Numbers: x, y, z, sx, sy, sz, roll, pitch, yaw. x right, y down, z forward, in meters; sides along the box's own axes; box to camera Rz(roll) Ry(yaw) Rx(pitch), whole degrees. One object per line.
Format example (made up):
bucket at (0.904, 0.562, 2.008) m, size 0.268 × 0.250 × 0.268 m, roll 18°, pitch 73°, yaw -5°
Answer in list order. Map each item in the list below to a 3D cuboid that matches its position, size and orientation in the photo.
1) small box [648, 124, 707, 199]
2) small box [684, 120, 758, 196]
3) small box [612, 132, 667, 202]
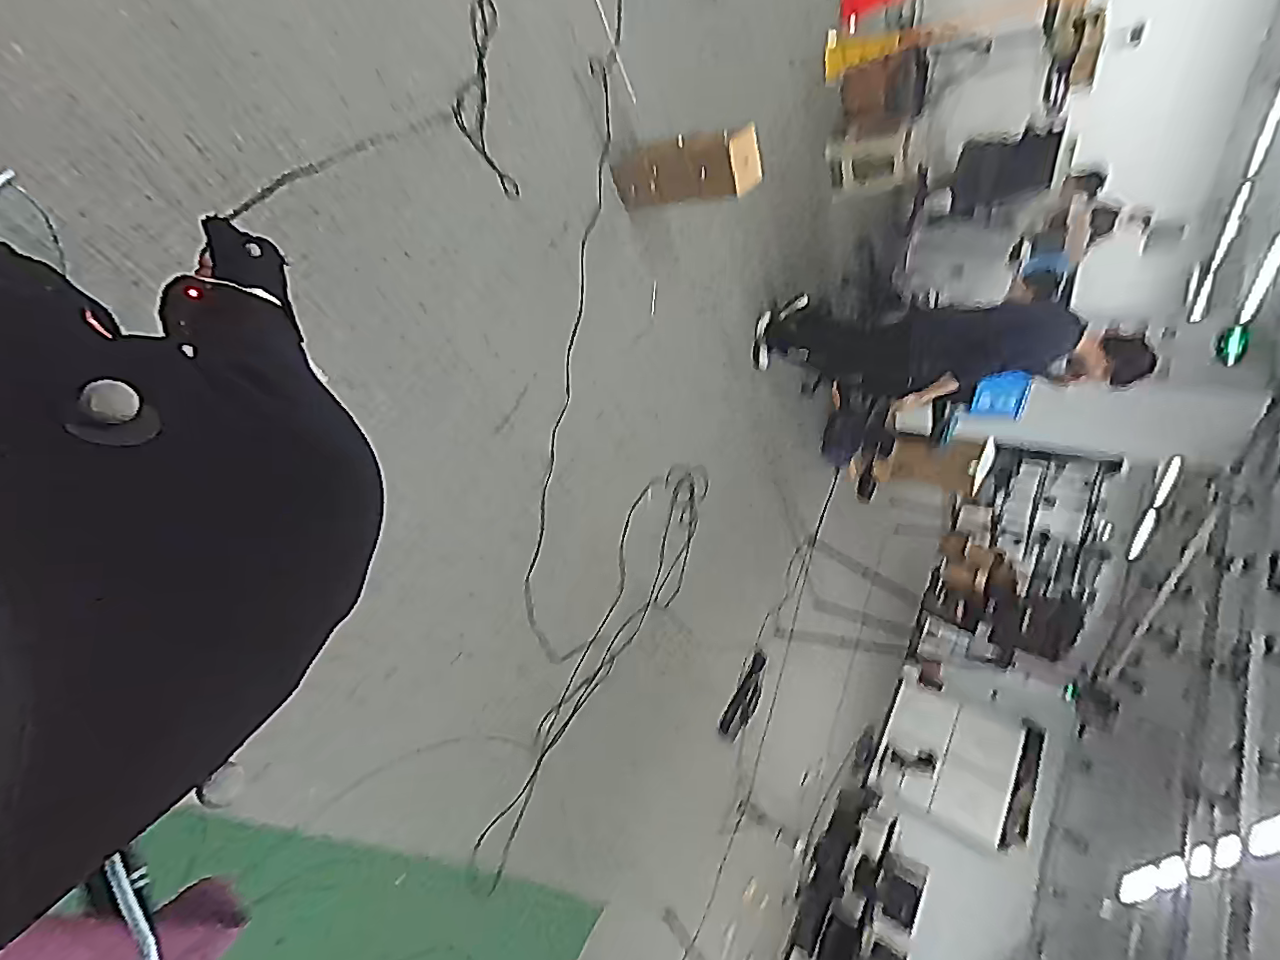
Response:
small box at (0.146, -1.124, 1.919) m, size 0.179 × 0.176 × 0.168 m, roll -55°, pitch 139°, yaw -25°
small box at (0.273, -1.083, 1.826) m, size 0.179 × 0.176 × 0.168 m, roll -50°, pitch 137°, yaw -28°
small box at (0.014, -1.158, 2.015) m, size 0.179 × 0.176 × 0.168 m, roll -56°, pitch 142°, yaw -21°
